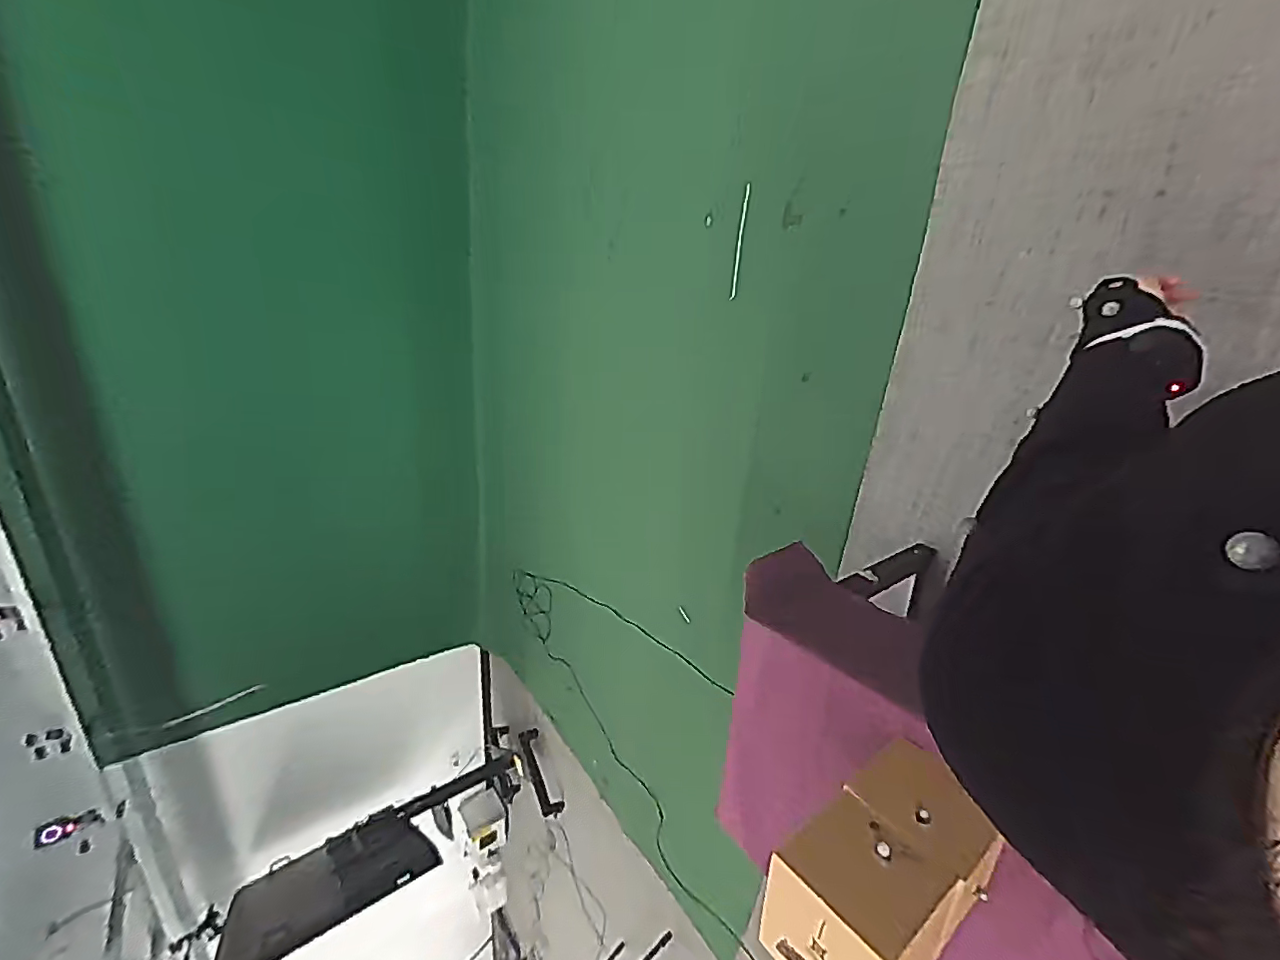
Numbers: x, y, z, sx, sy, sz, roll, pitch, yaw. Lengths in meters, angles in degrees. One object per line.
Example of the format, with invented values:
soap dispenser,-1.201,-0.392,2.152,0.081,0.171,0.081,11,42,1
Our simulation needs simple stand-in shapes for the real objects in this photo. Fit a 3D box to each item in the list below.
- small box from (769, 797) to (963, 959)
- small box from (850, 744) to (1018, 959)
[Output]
small box,0.295,0.575,0.715,0.168,0.176,0.179,23,117,48
small box,0.425,0.539,0.809,0.179,0.176,0.168,27,120,47
